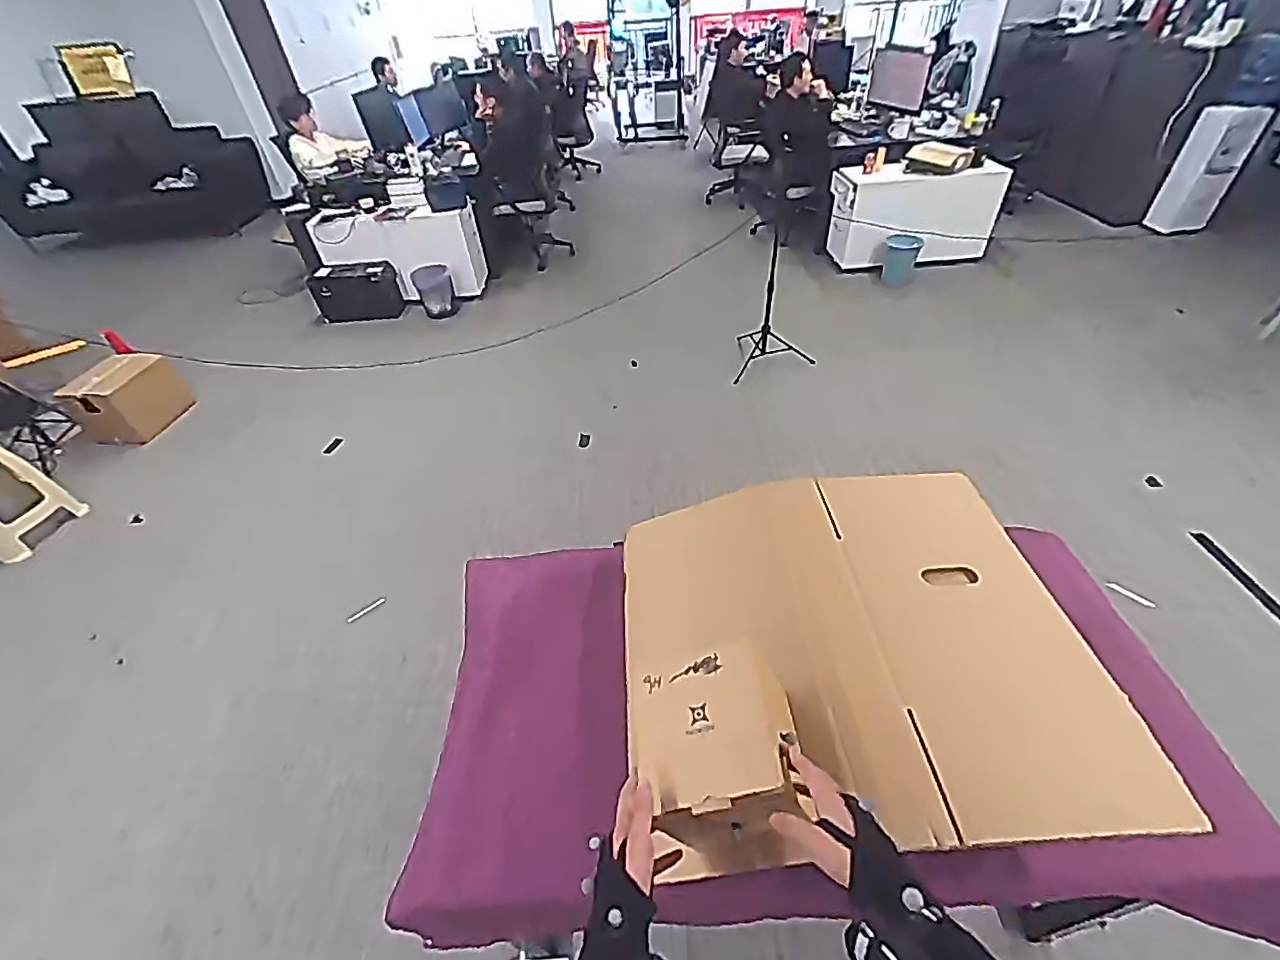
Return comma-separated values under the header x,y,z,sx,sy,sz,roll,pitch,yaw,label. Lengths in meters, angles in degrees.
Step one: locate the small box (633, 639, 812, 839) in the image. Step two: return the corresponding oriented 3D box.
x,y,z,sx,sy,sz,roll,pitch,yaw,label
0.103,0.334,0.684,0.168,0.176,0.179,-21,42,14,small box
